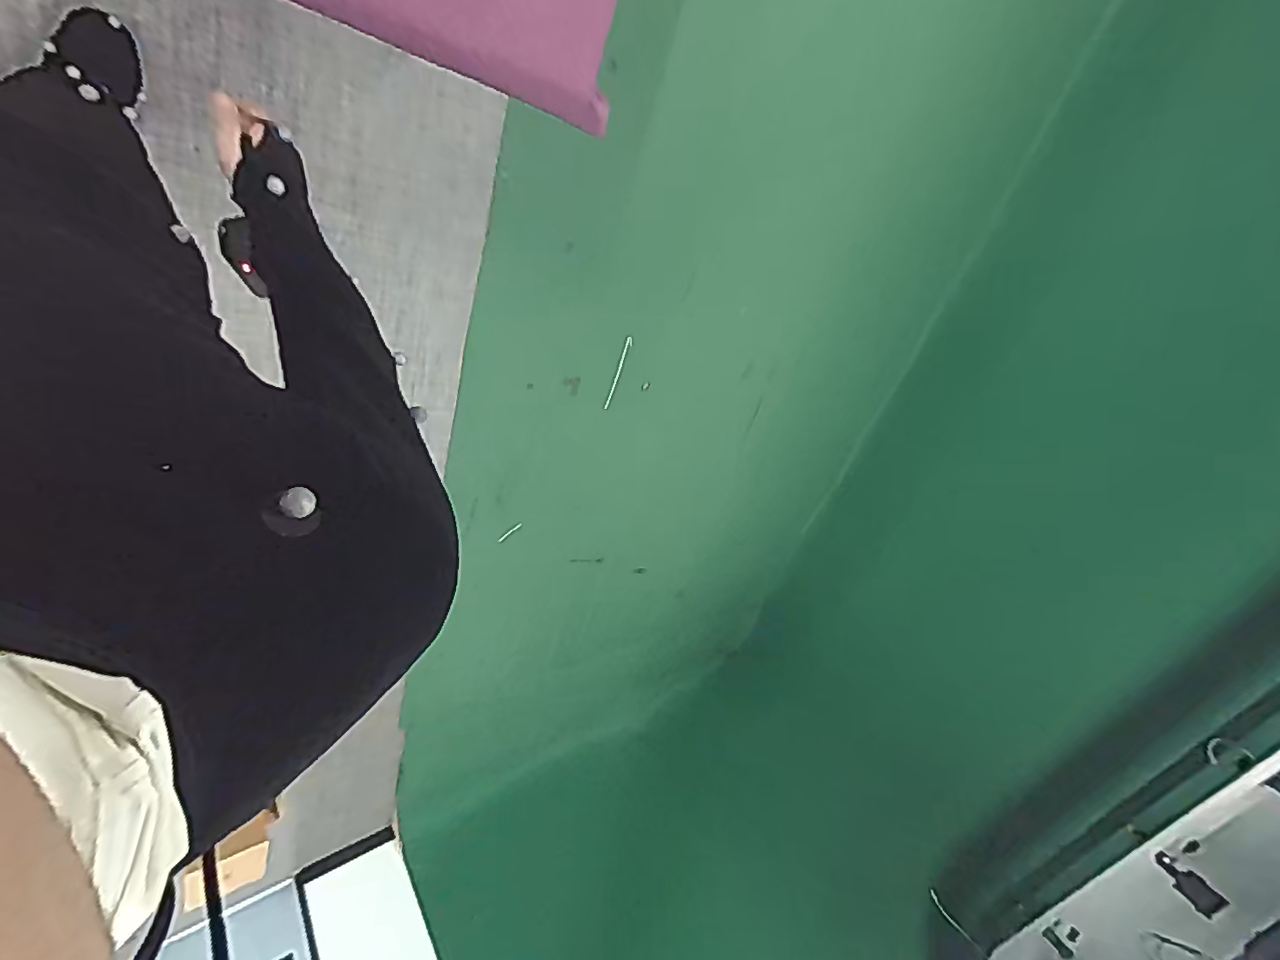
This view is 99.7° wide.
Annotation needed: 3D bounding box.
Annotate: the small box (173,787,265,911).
[{"bbox_3d":[-1.074,0.929,1.376,0.168,0.176,0.179,-4,126,-45],"label":"small box"}]
